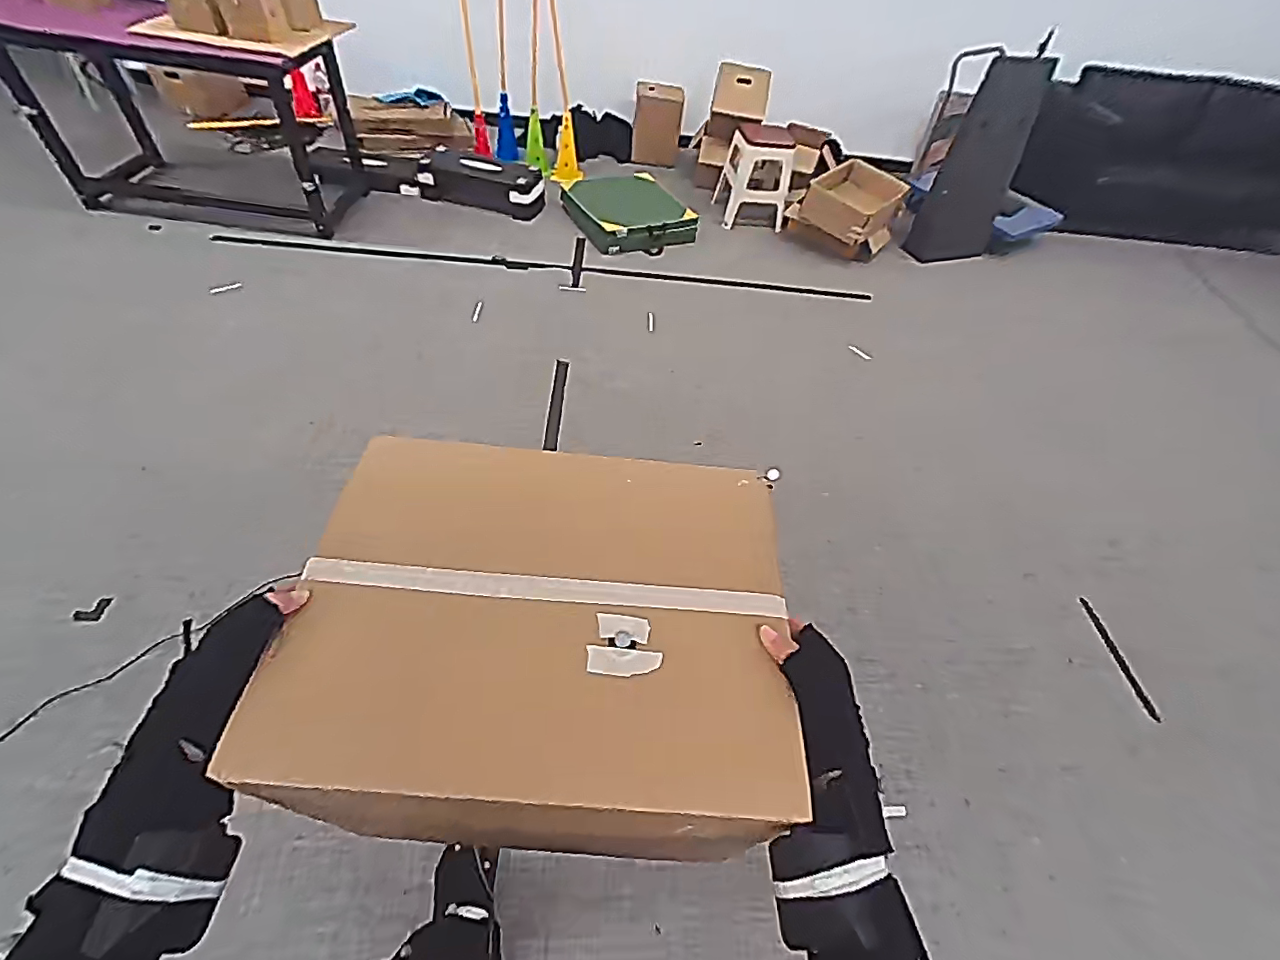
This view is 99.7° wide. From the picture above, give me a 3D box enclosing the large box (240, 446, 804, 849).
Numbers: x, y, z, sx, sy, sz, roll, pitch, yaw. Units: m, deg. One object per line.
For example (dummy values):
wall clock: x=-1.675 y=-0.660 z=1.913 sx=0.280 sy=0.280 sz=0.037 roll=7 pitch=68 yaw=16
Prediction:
large box: x=-0.087 y=0.192 z=0.585 sx=0.408 sy=0.320 sz=0.320 roll=6 pitch=52 yaw=-2
